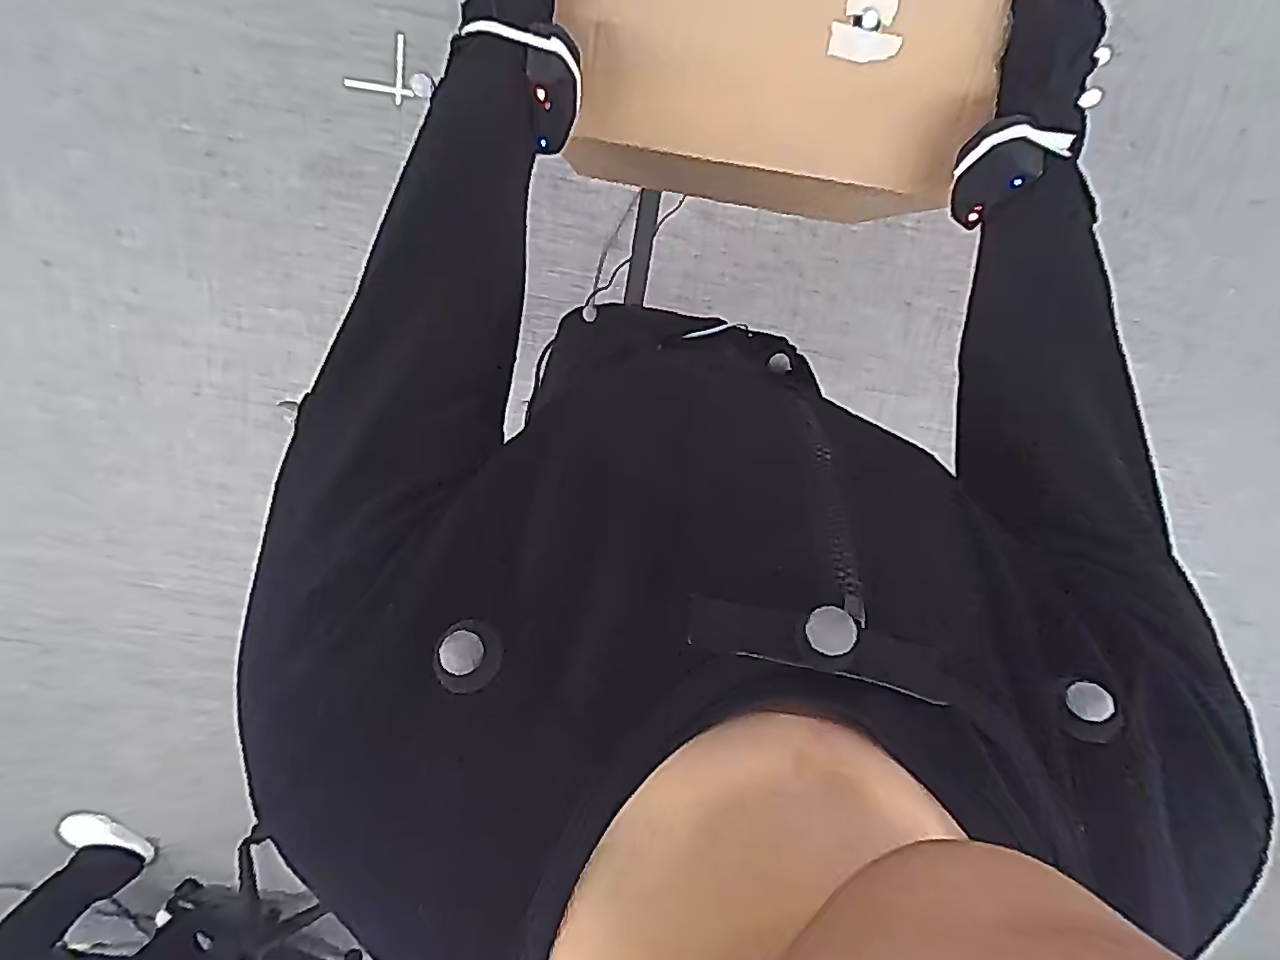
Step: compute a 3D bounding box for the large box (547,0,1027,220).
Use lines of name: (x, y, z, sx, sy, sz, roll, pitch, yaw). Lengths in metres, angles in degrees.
large box: (0.130, -0.485, 0.583, 0.408, 0.320, 0.320, 8, 113, -3)
